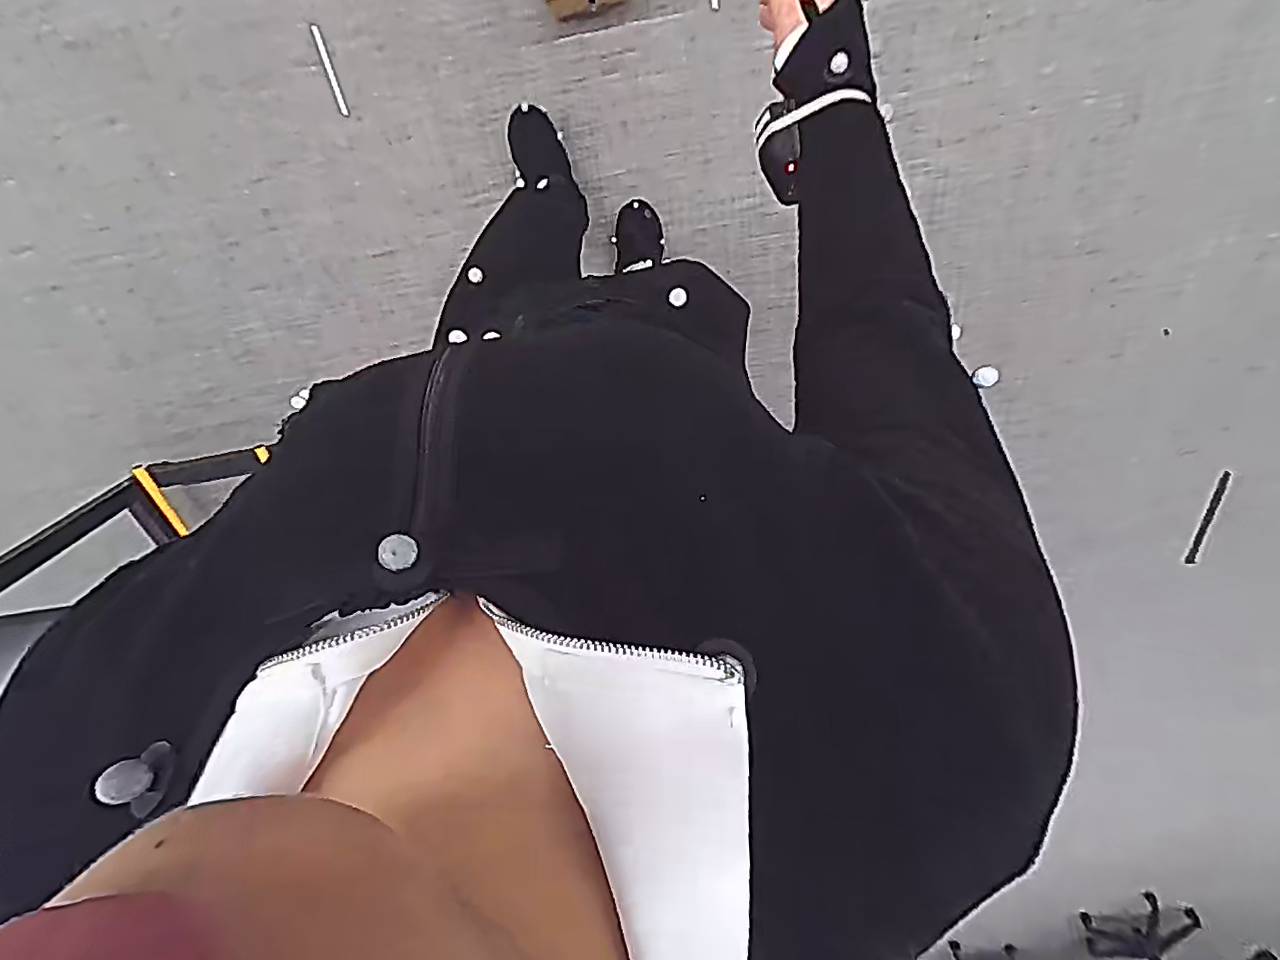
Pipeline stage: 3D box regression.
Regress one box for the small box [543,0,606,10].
[{"bbox_3d":[-0.109,-0.964,0.953,0.168,0.176,0.179,-10,121,5],"label":"small box"}]
